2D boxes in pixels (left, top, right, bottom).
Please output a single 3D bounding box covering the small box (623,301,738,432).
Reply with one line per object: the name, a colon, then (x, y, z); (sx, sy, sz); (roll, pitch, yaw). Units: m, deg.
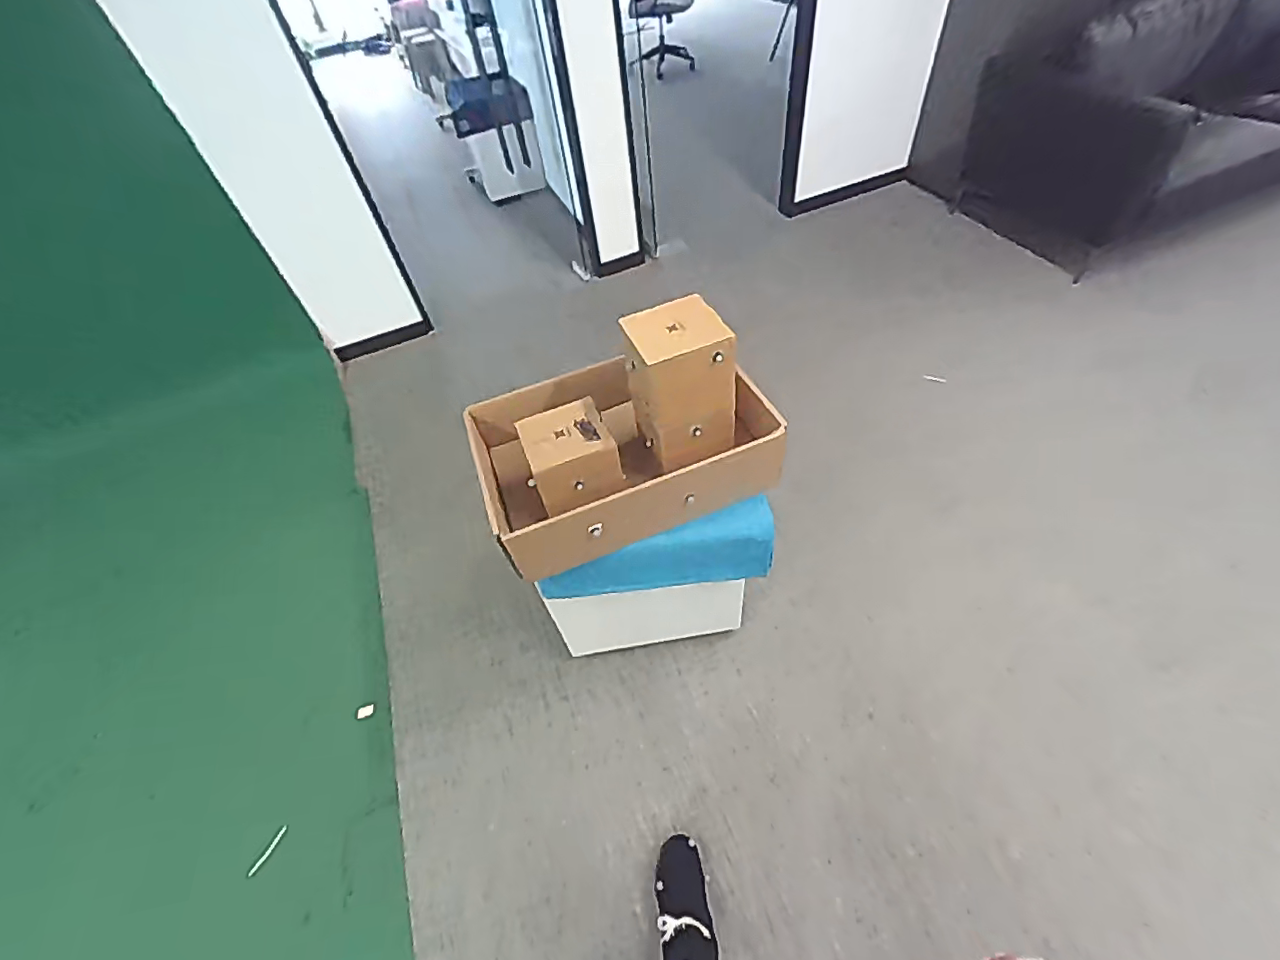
small box: (0.083, -0.222, 1.079); (0.179, 0.176, 0.168); (-20, 49, -9)
